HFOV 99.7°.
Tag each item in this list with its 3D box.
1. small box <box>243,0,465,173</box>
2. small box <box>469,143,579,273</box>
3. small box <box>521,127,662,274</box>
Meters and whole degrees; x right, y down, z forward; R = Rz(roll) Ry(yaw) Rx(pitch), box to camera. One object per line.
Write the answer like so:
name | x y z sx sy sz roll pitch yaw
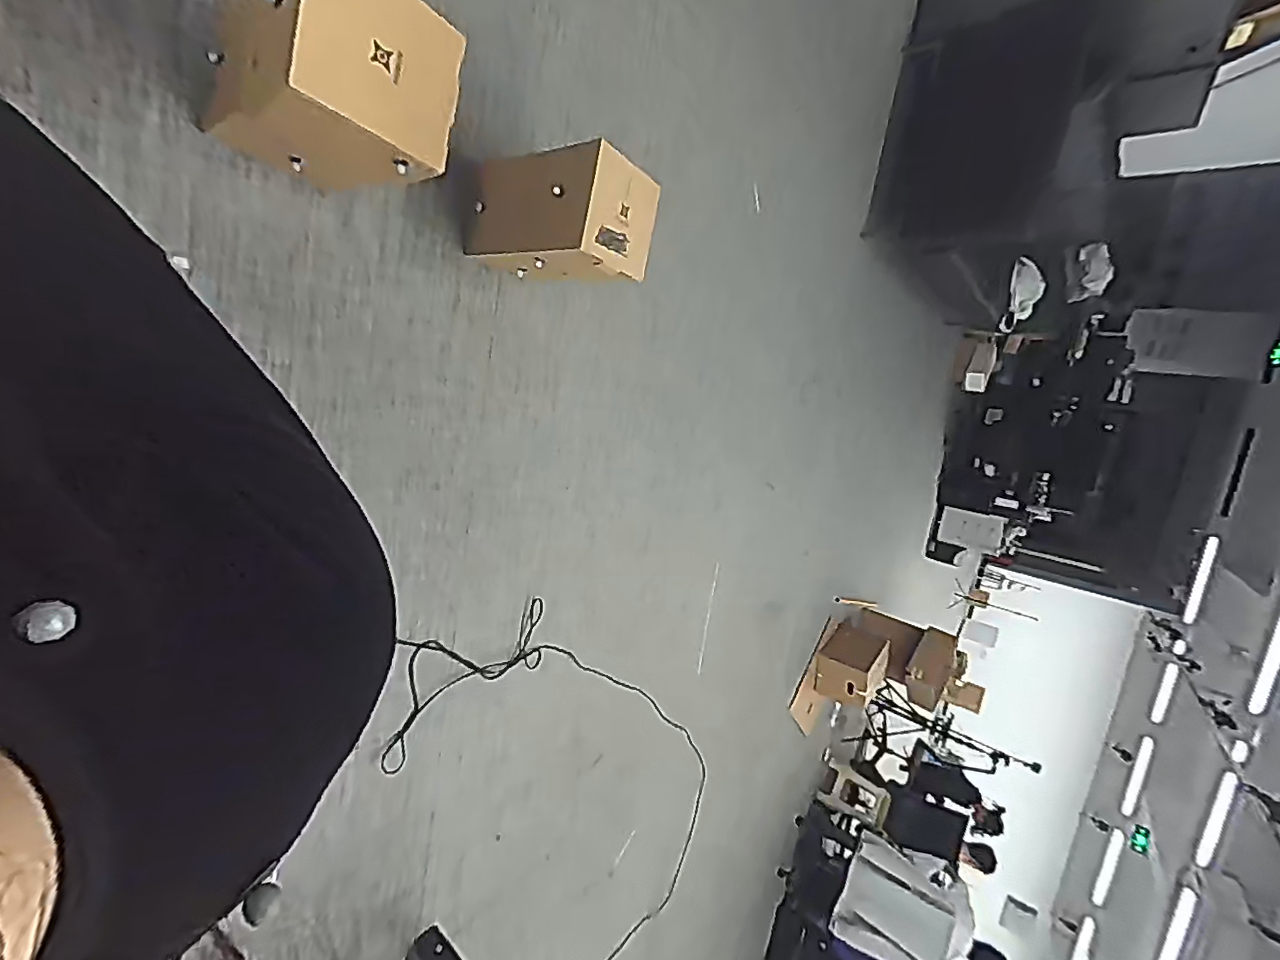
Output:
small box | -0.341 -0.492 0.642 0.179 0.176 0.168 5 99 -52
small box | -0.212 -0.520 1.060 0.168 0.176 0.179 3 101 -52
small box | -0.089 -0.478 0.959 0.168 0.176 0.179 5 98 -52
